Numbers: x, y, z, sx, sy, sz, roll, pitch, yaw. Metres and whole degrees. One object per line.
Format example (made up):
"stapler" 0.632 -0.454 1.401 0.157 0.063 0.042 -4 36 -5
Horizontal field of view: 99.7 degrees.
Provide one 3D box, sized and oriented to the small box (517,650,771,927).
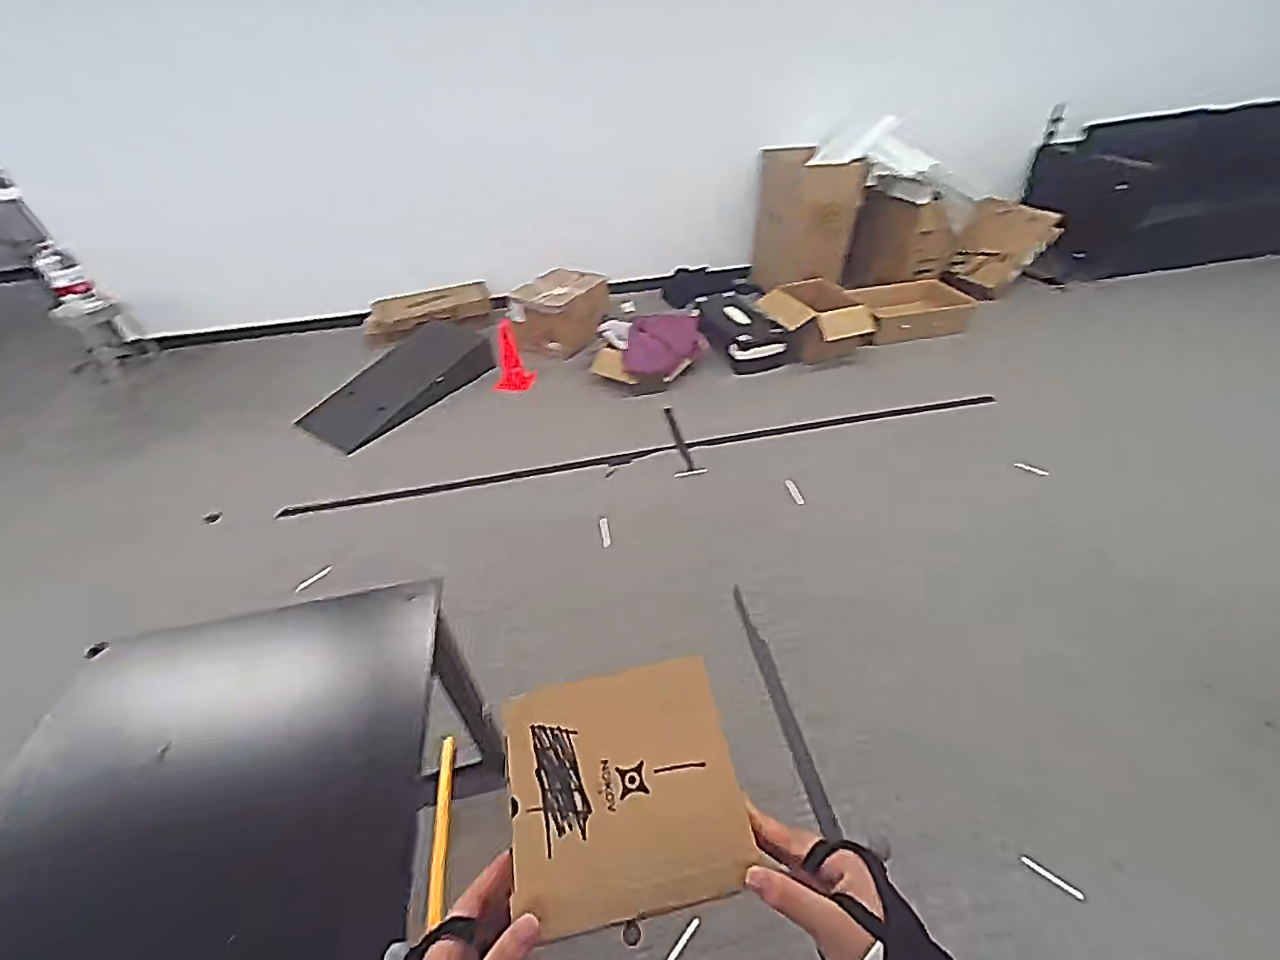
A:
"small box" -0.001 0.276 0.480 0.179 0.176 0.168 -11 51 -4
